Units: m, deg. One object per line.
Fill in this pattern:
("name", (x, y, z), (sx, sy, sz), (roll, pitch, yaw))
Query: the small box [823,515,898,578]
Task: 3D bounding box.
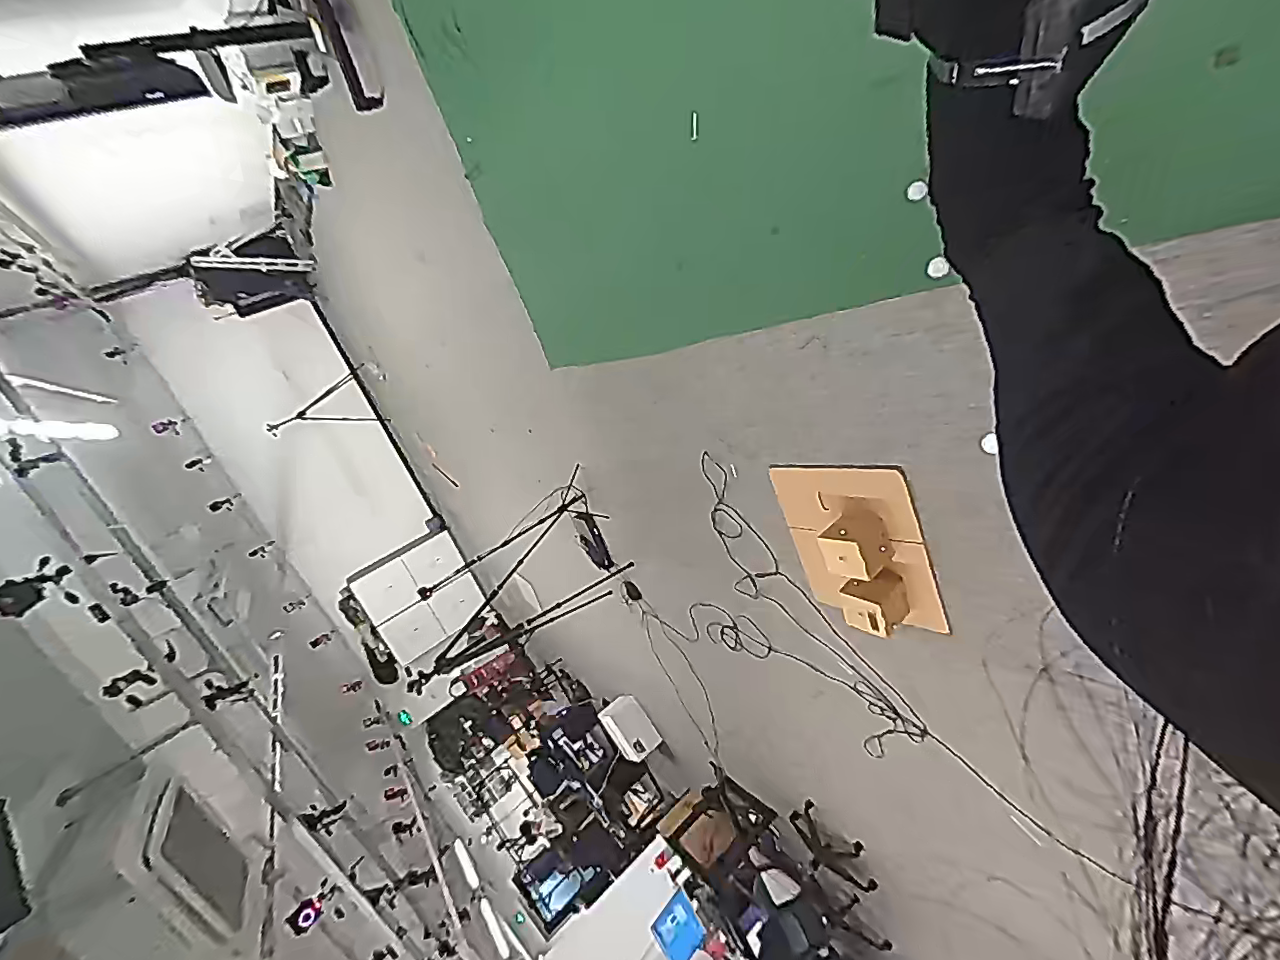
("small box", (0.818, 0.240, 2.003), (0.179, 0.176, 0.168), (-1, 118, 58))
